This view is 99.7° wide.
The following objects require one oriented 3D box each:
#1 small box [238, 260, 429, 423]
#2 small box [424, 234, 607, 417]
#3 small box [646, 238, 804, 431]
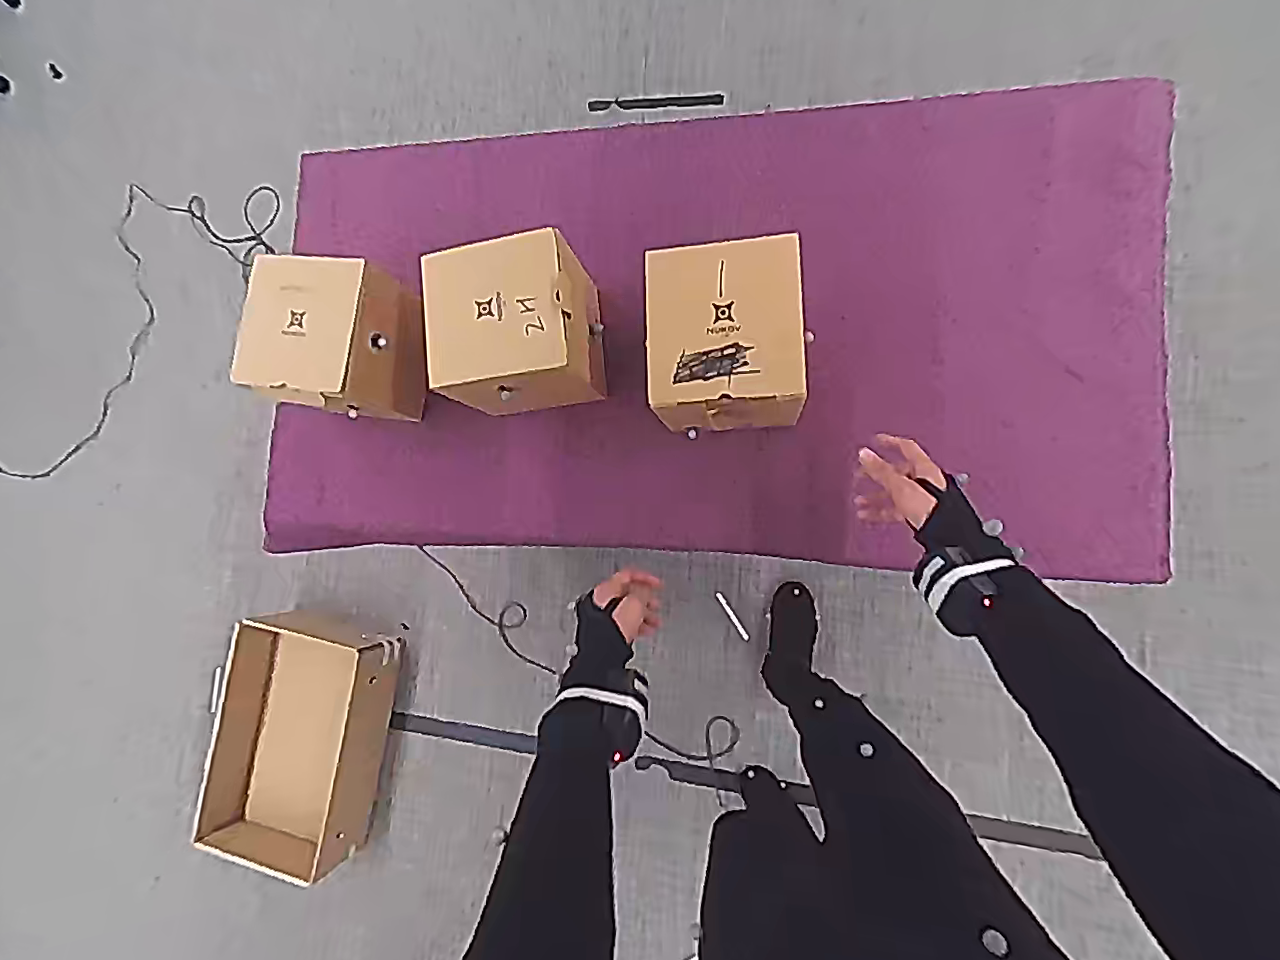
[{"bbox_3d":[-0.409,-0.183,0.758,0.168,0.176,0.179,7,86,11],"label":"small box"},{"bbox_3d":[-0.153,-0.186,0.704,0.179,0.176,0.168,-7,84,11],"label":"small box"},{"bbox_3d":[0.104,-0.157,0.649,0.168,0.176,0.179,-2,84,11],"label":"small box"}]
